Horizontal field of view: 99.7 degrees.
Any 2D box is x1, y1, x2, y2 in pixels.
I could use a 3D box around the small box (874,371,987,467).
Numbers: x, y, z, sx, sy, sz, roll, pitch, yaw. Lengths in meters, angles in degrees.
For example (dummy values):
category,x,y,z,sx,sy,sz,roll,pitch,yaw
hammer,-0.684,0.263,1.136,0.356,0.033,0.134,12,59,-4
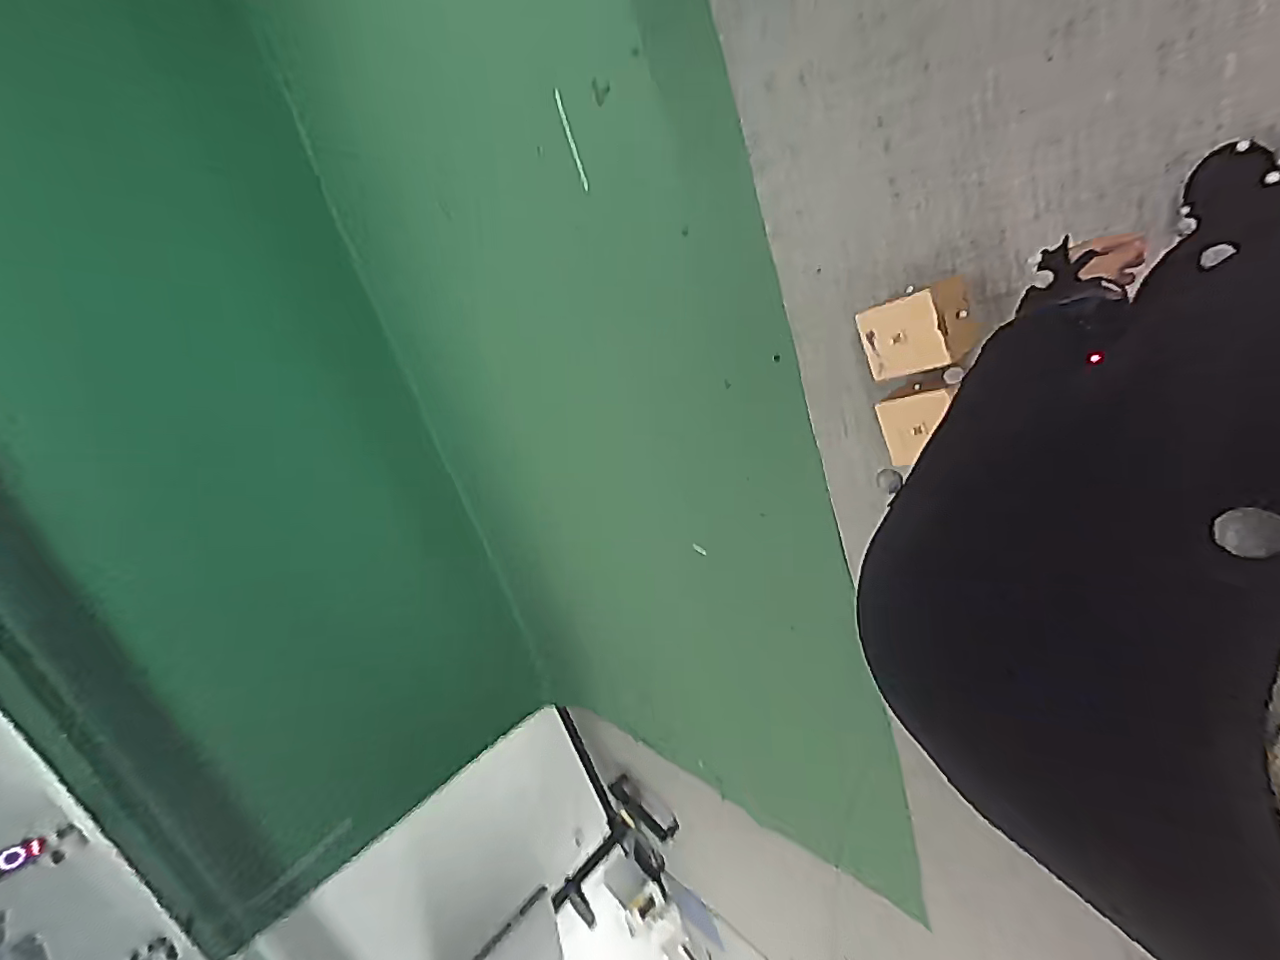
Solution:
category,x,y,z,sx,sy,sz,roll,pitch,yaw
small box,0.702,-0.146,1.296,0.179,0.176,0.168,-10,105,54
